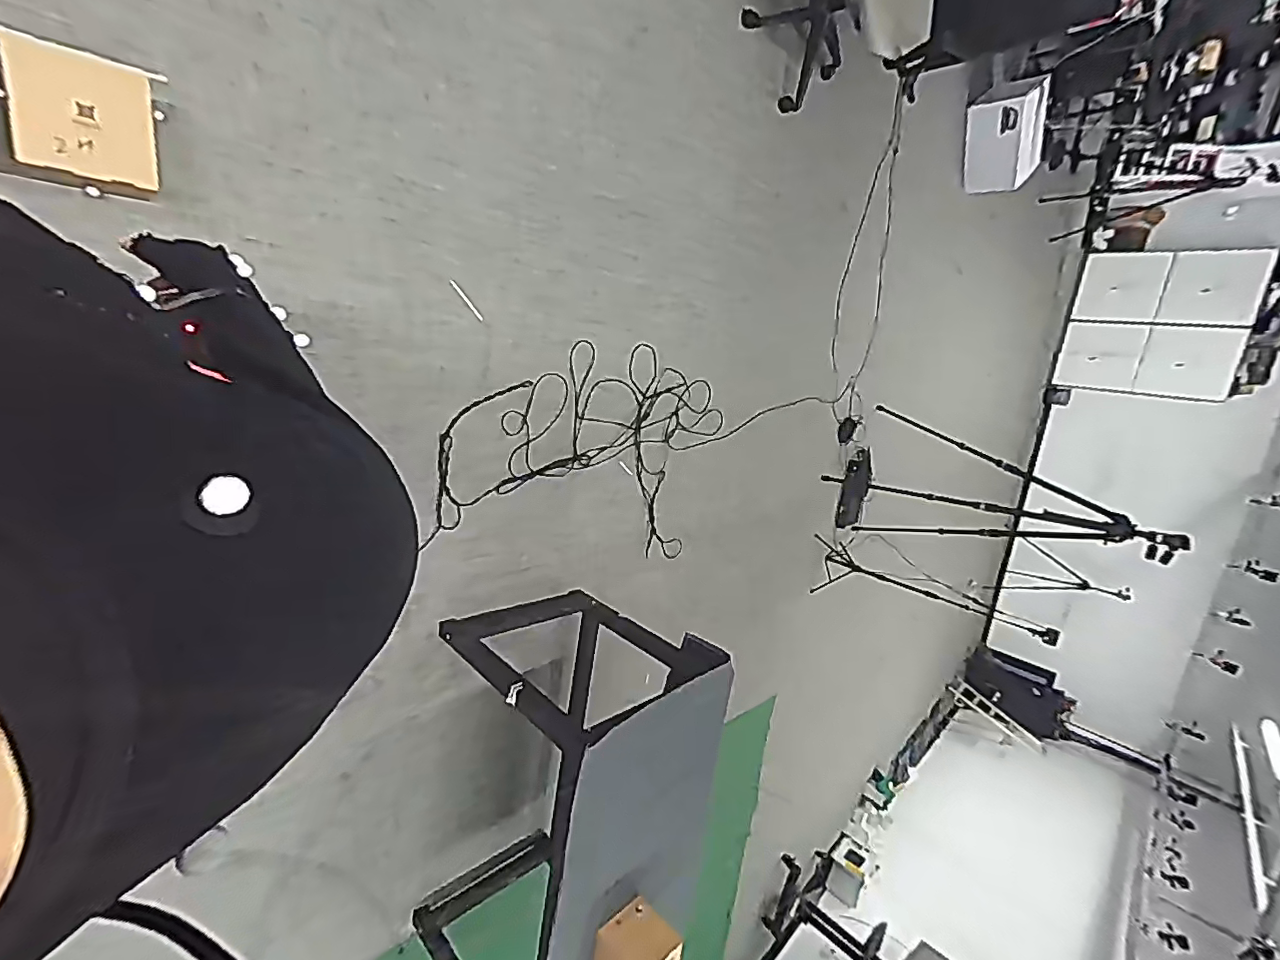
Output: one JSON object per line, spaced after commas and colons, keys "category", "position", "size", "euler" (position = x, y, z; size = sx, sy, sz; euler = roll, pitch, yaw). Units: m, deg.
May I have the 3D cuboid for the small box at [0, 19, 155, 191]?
{"category": "small box", "position": [-0.934, -0.606, 0.903], "size": [0.168, 0.176, 0.179], "euler": [-7, 109, -44]}

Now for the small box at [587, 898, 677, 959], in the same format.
{"category": "small box", "position": [-0.028, 1.290, 1.467], "size": [0.168, 0.176, 0.179], "euler": [-1, 106, -46]}
